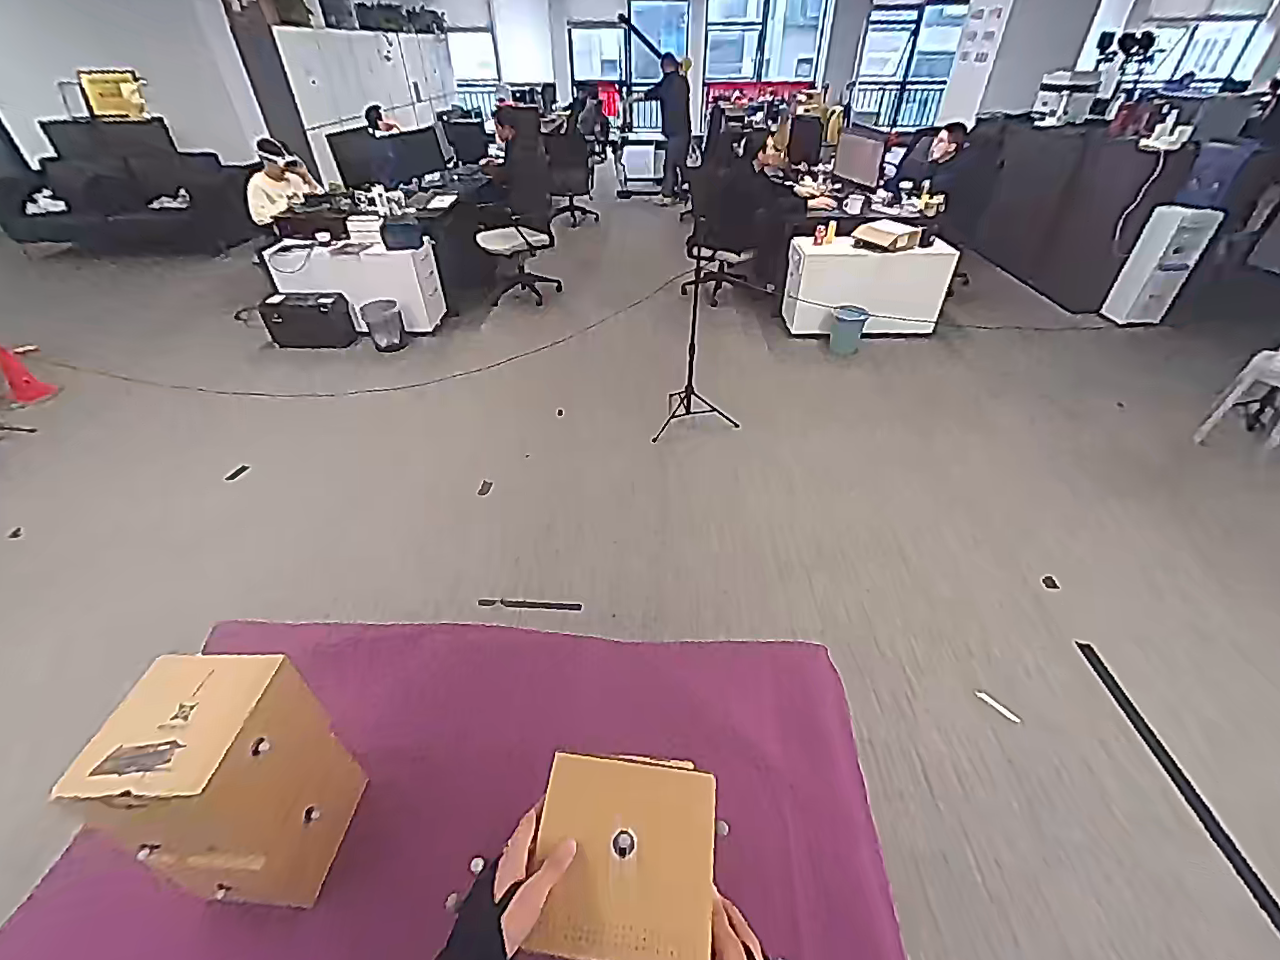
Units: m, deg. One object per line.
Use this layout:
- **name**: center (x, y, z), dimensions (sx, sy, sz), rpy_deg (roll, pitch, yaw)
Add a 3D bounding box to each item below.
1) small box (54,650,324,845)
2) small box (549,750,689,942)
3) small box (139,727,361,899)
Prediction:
- **small box**: center (-0.540, 0.339, 0.686), dimensions (0.168, 0.176, 0.179), rpy_deg (1, 38, 0)
- **small box**: center (-0.018, 0.504, 0.745), dimensions (0.168, 0.176, 0.179), rpy_deg (3, 38, 4)
- **small box**: center (-0.536, 0.474, 0.780), dimensions (0.168, 0.176, 0.179), rpy_deg (4, 39, 3)
